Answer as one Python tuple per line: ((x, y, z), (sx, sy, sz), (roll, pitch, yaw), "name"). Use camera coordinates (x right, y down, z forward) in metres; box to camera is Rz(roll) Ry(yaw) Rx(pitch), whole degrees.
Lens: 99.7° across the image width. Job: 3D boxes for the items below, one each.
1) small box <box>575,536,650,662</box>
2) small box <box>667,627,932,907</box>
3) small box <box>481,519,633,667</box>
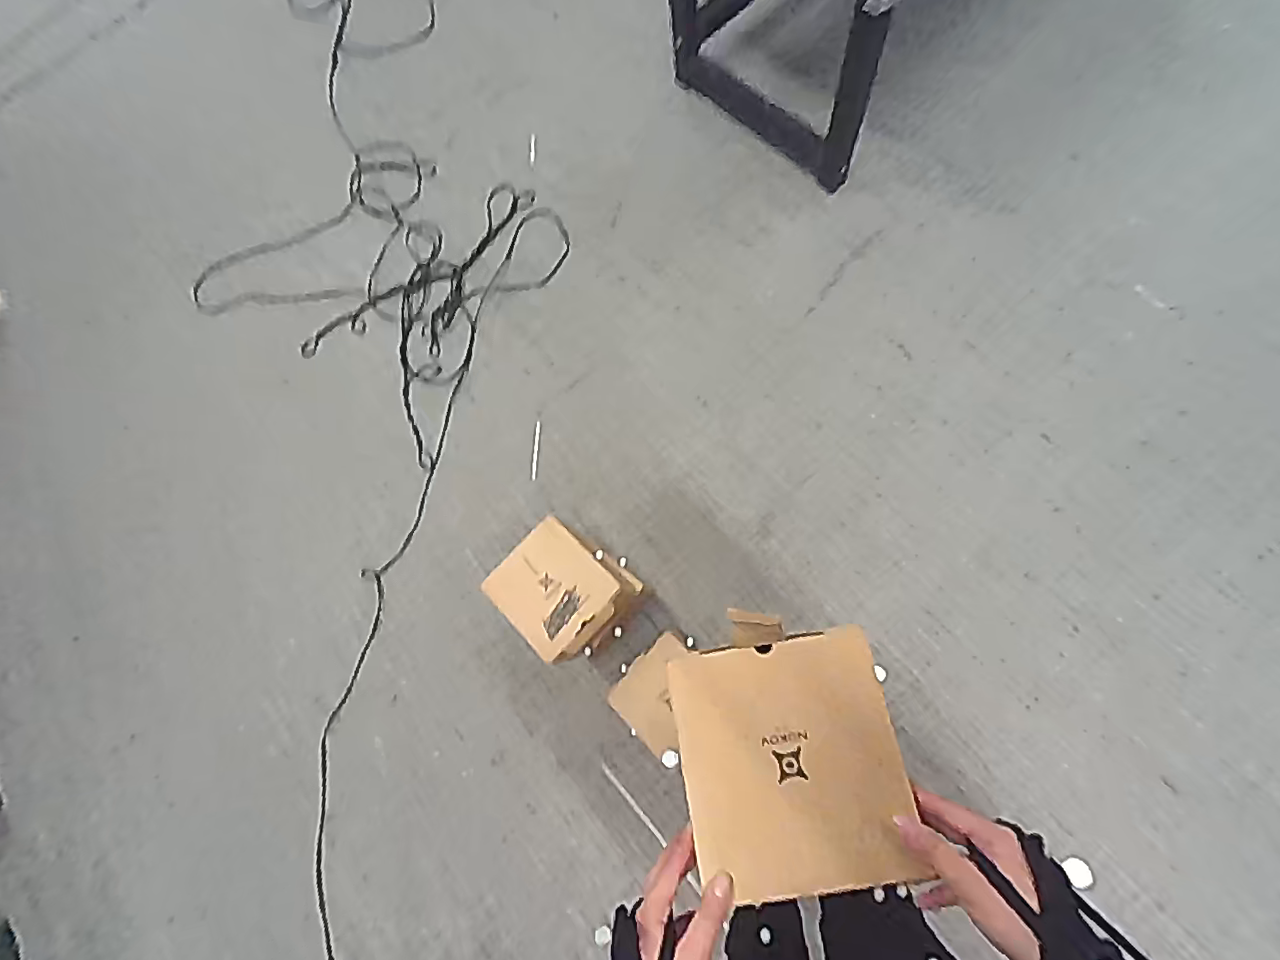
((-0.097, 0.242, 1.090), (0.168, 0.176, 0.179), (37, 83, 17), "small box")
((0.121, 0.236, 0.478), (0.168, 0.176, 0.179), (-9, 67, 4), "small box")
((-0.132, 0.195, 0.935), (0.179, 0.176, 0.168), (43, 84, 17), "small box")
